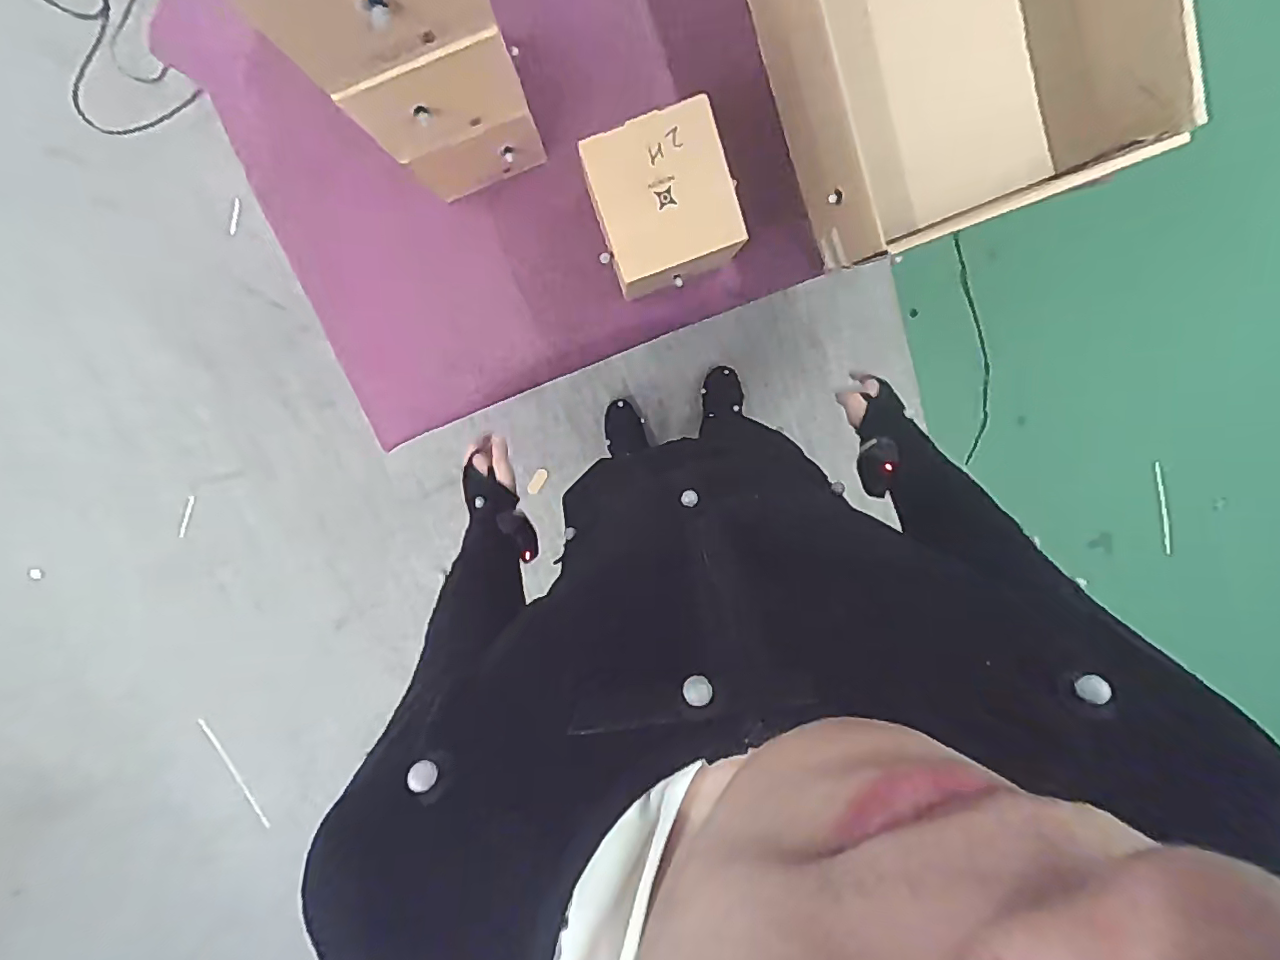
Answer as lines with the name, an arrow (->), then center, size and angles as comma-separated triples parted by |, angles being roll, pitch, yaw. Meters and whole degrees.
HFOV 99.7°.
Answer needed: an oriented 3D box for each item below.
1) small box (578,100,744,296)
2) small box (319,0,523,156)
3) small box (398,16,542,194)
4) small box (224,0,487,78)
small box -> 0.027, -0.365, 0.741 | 0.168, 0.176, 0.179 | -19, 101, 2
small box -> -0.236, -0.464, 0.552 | 0.168, 0.176, 0.179 | -21, 101, 2
small box -> -0.241, -0.502, 0.710 | 0.168, 0.176, 0.179 | -20, 102, 2
small box -> -0.232, -0.436, 0.391 | 0.168, 0.176, 0.179 | -21, 102, 2
